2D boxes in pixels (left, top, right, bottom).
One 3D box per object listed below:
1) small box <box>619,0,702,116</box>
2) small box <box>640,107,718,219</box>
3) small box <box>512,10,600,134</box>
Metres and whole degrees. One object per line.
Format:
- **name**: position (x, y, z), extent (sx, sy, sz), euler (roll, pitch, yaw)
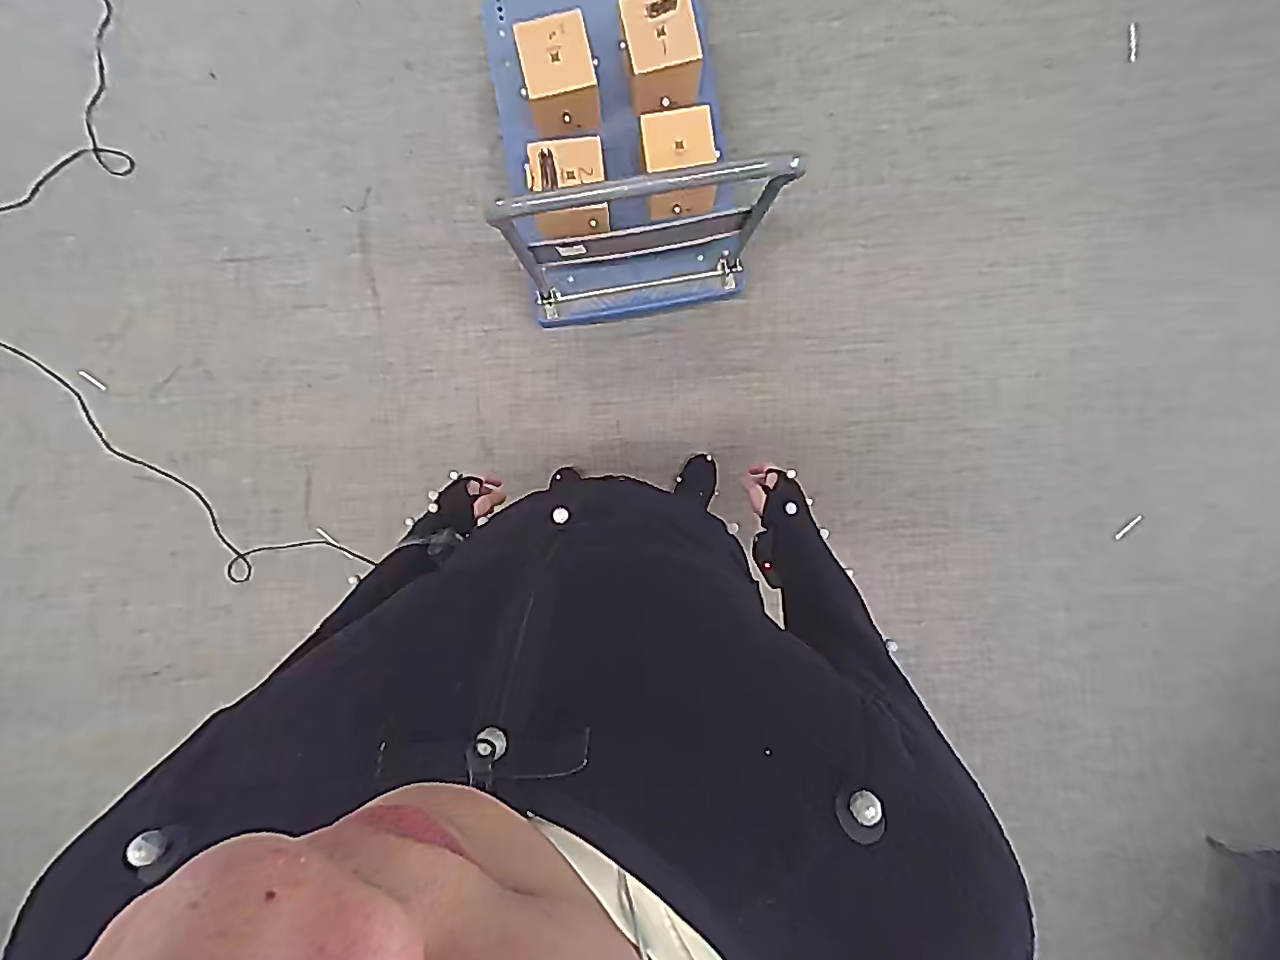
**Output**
- **small box**: position (0.047, -1.046, 1.327), extent (0.168, 0.176, 0.179), euler (-13, 94, 2)
- **small box**: position (0.091, -0.779, 1.343), extent (0.168, 0.176, 0.179), euler (-8, 93, 0)
- **small box**: position (-0.199, -0.988, 1.332), extent (0.168, 0.176, 0.179), euler (-12, 93, 0)
